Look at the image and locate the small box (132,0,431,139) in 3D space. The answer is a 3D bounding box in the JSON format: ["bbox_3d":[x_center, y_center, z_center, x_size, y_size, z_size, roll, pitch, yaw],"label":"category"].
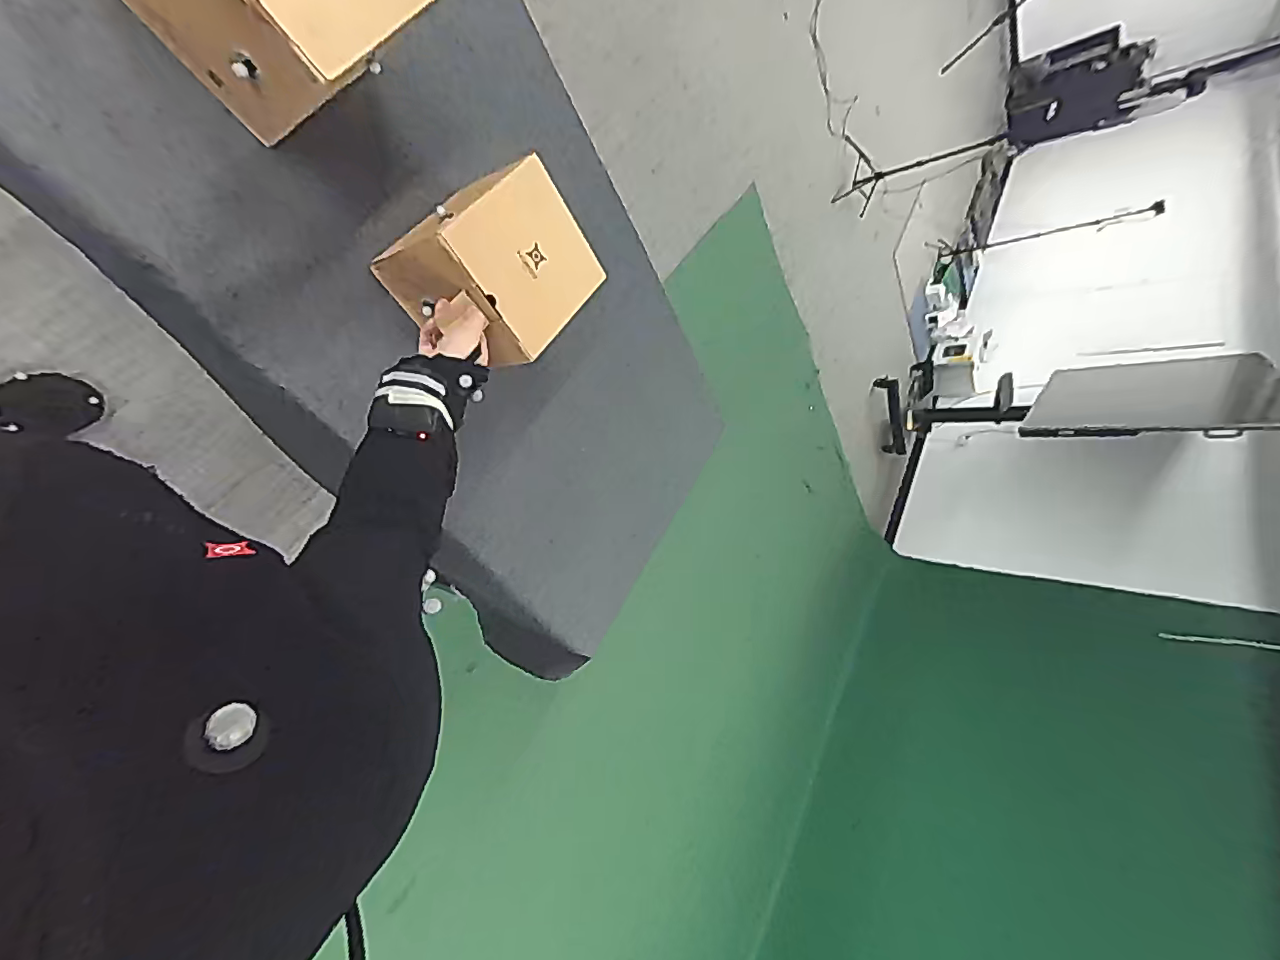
[{"bbox_3d":[-0.333,-0.455,0.491,0.168,0.176,0.179,49,57,-41],"label":"small box"}]

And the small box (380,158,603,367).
[{"bbox_3d":[-0.185,-0.262,0.680,0.179,0.176,0.168,-58,132,-27],"label":"small box"}]
